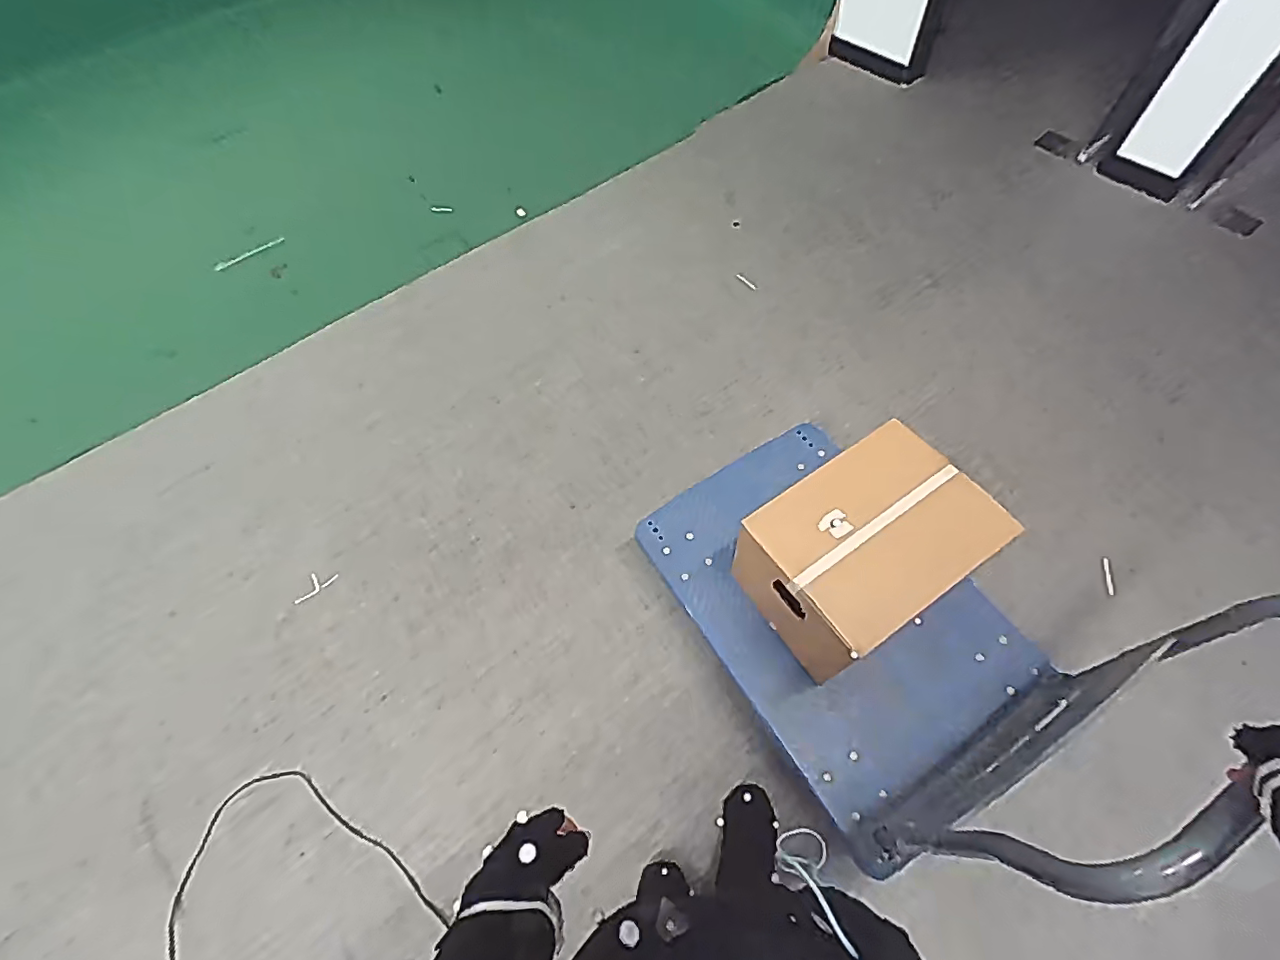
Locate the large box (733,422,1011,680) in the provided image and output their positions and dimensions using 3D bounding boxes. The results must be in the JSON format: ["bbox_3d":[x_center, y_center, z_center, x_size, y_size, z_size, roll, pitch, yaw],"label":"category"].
[{"bbox_3d":[0.453,0.159,1.146,0.408,0.320,0.320,-33,62,-11],"label":"large box"}]
